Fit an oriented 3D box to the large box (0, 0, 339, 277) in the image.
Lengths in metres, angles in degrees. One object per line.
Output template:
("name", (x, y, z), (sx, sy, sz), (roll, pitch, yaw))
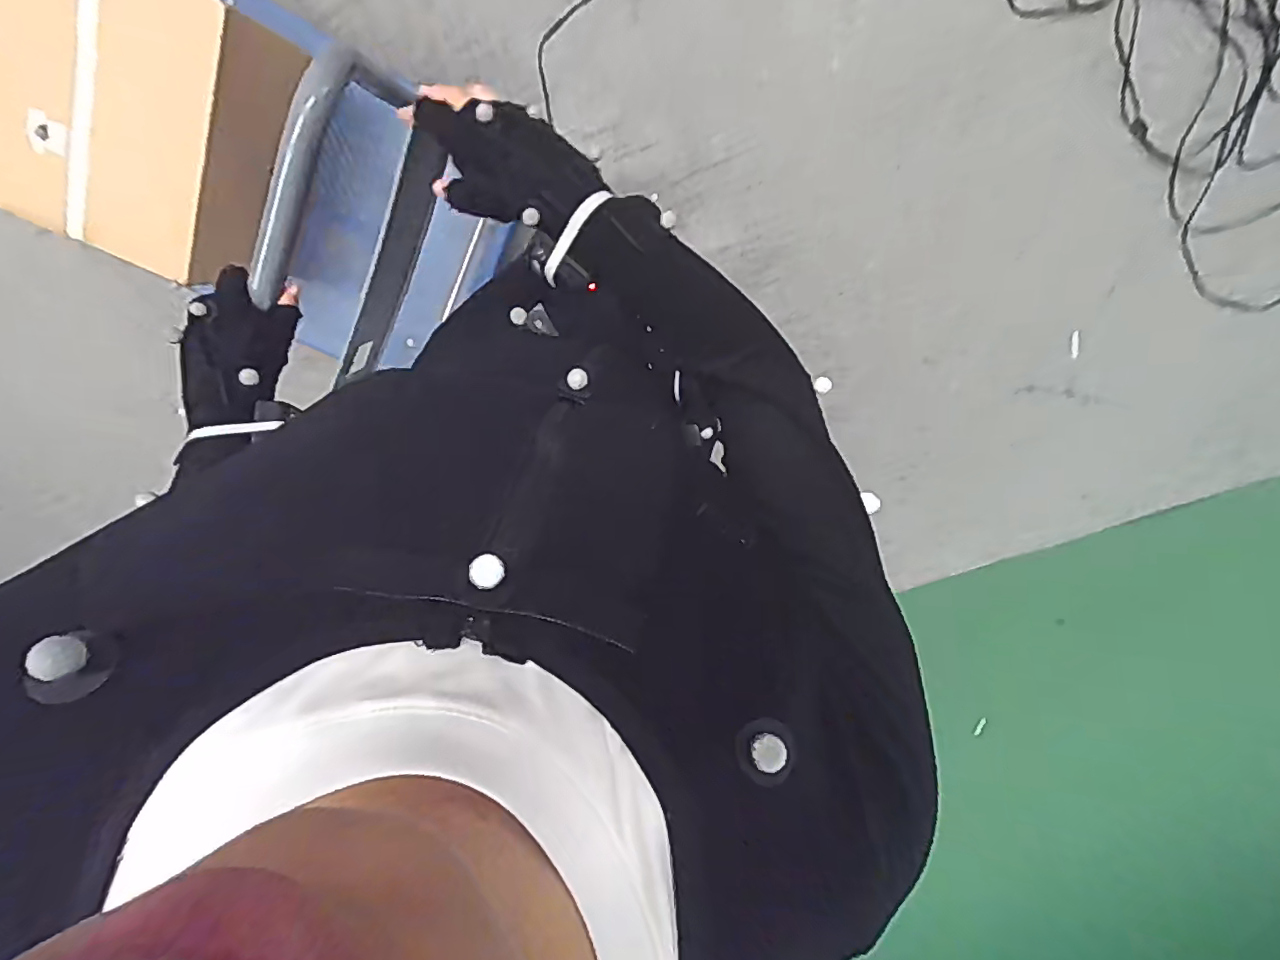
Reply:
("large box", (-0.765, -0.611, 0.906), (0.320, 0.320, 0.408), (24, 112, -11))
